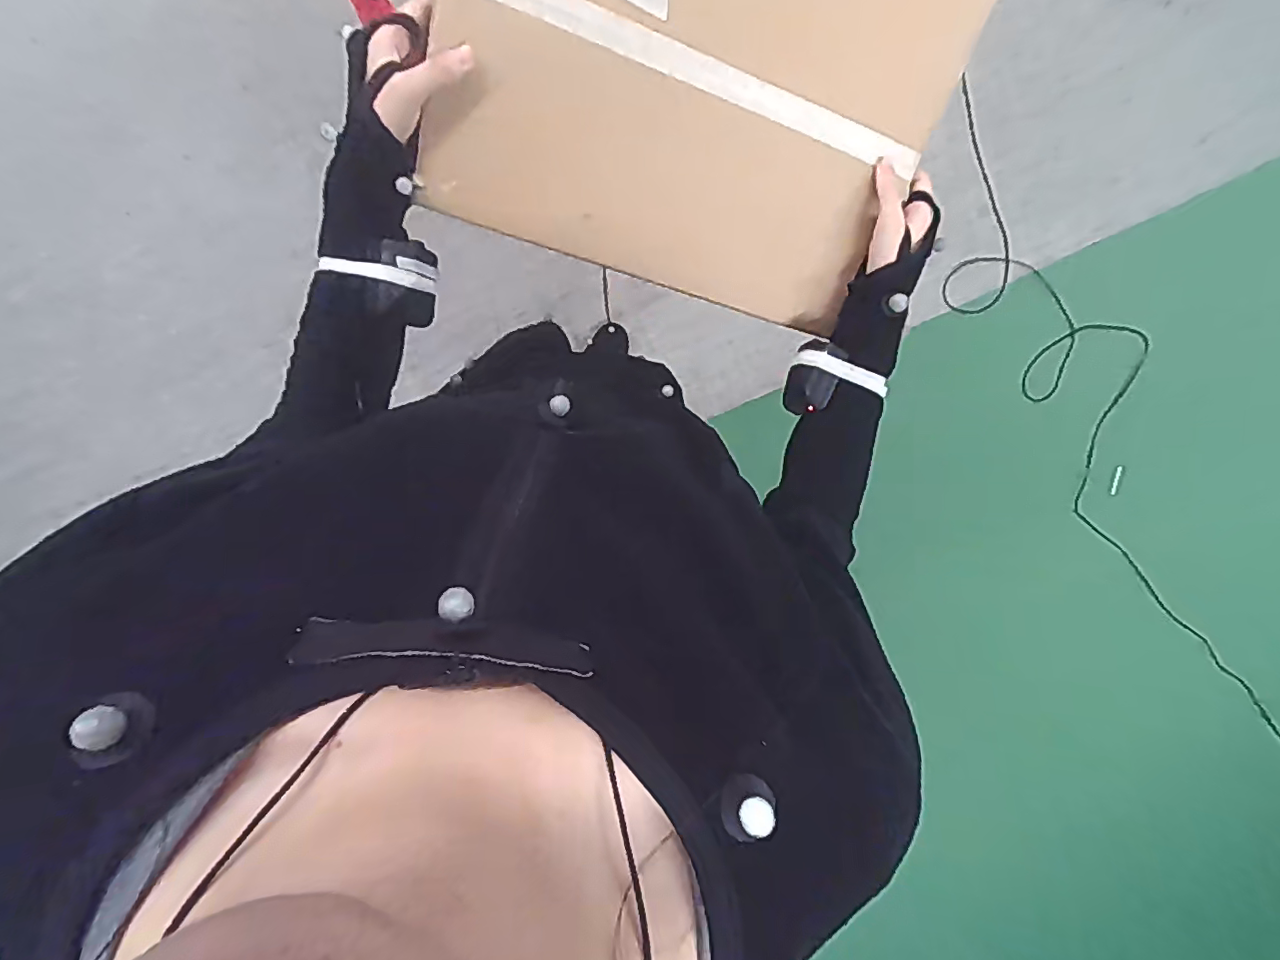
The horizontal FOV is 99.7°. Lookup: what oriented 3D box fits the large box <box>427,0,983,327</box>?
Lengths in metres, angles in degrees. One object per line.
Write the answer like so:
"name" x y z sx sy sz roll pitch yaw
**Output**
"large box" 0.035 -0.397 0.567 0.408 0.320 0.320 13 116 -15
